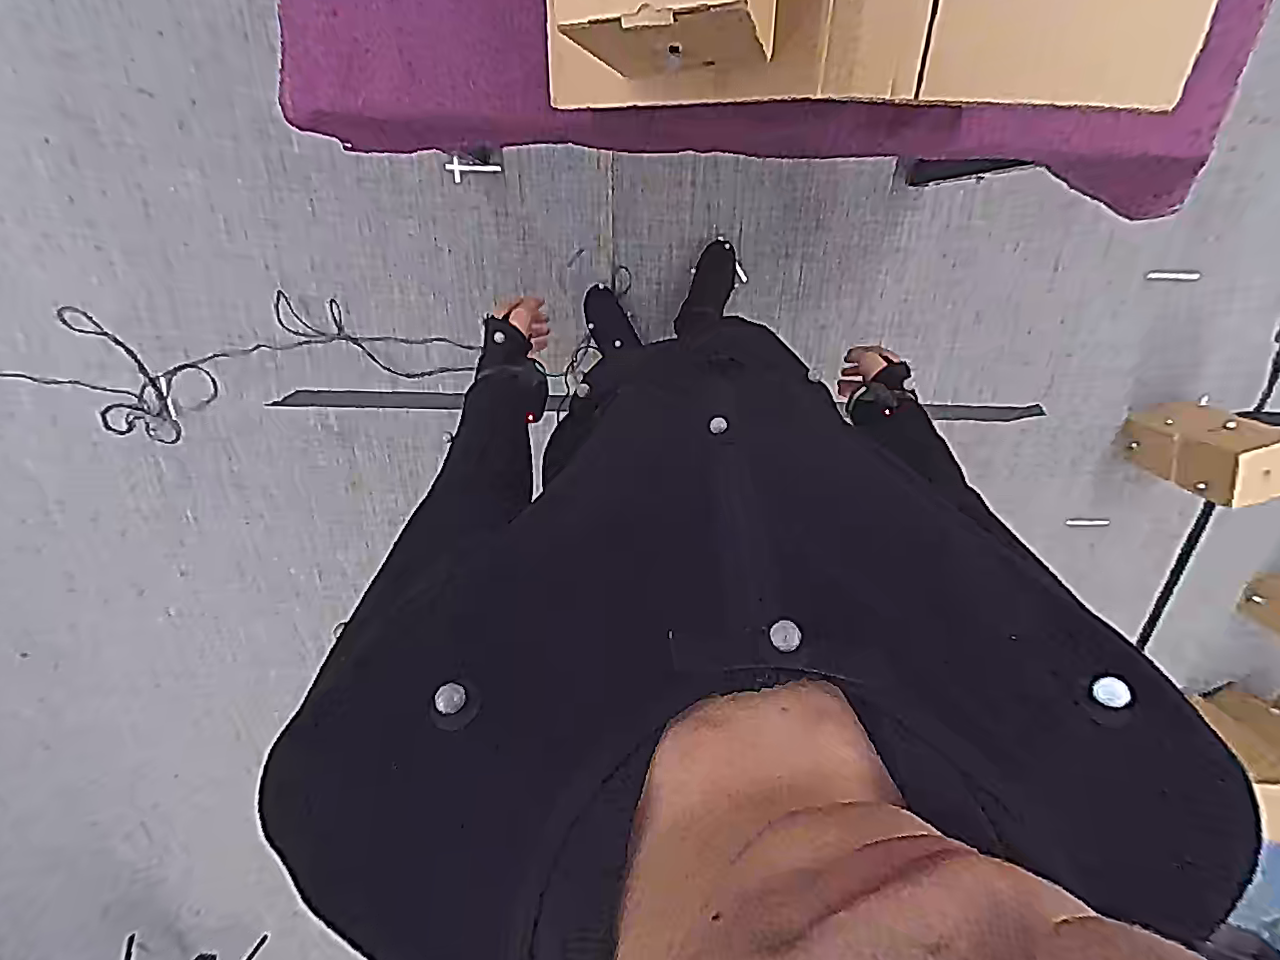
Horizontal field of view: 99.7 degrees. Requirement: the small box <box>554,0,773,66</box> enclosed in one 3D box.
[{"bbox_3d":[0.030,-0.486,0.473,0.168,0.176,0.179,8,117,16],"label":"small box"}]
